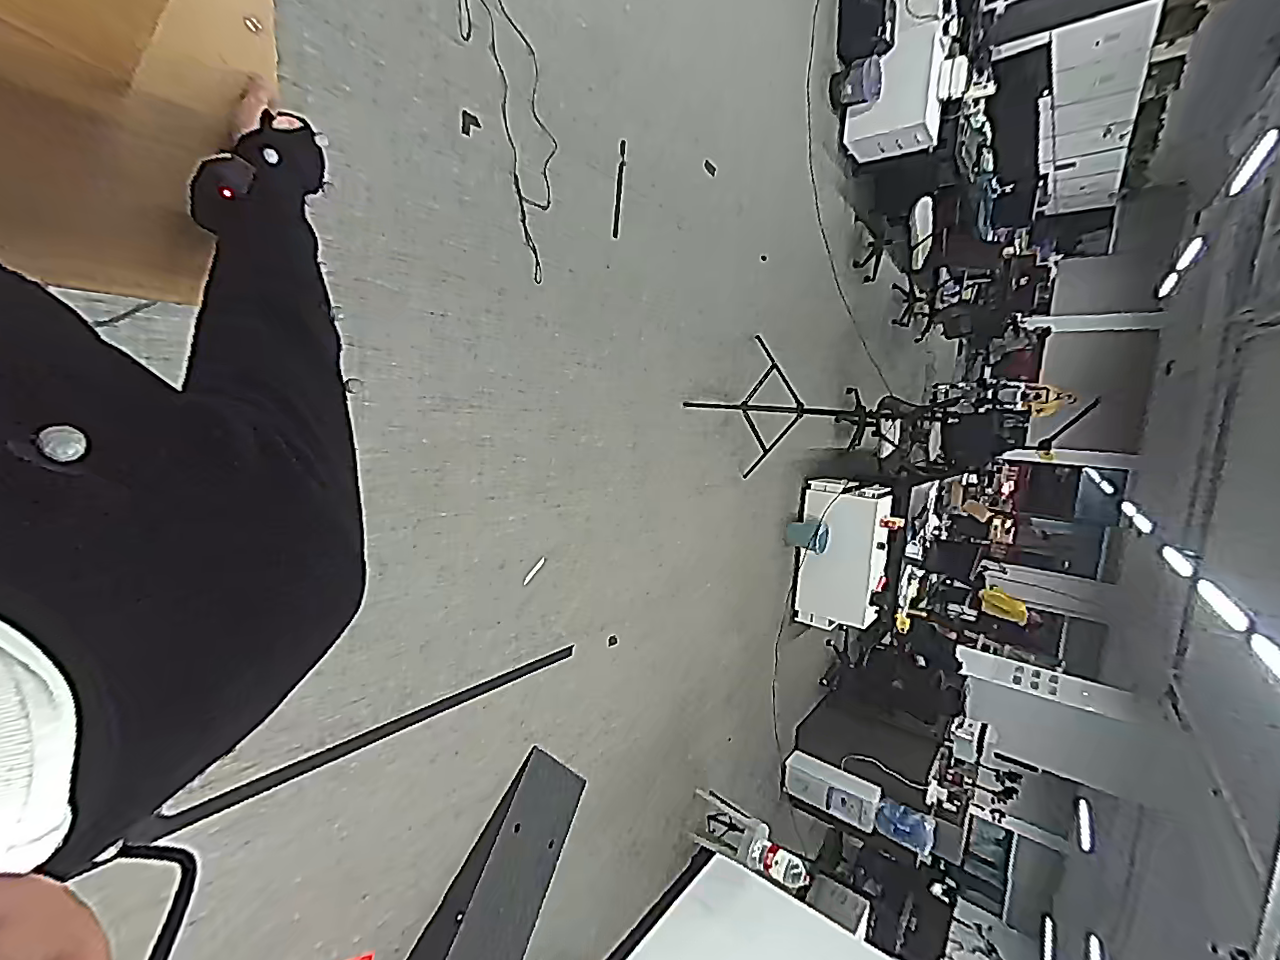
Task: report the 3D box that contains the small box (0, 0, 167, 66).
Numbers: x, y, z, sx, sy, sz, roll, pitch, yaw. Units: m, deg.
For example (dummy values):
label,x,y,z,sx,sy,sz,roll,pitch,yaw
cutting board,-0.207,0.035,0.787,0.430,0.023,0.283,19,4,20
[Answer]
label,x,y,z,sx,sy,sz,roll,pitch,yaw
small box,-0.453,-0.463,0.396,0.179,0.176,0.168,11,82,-51
